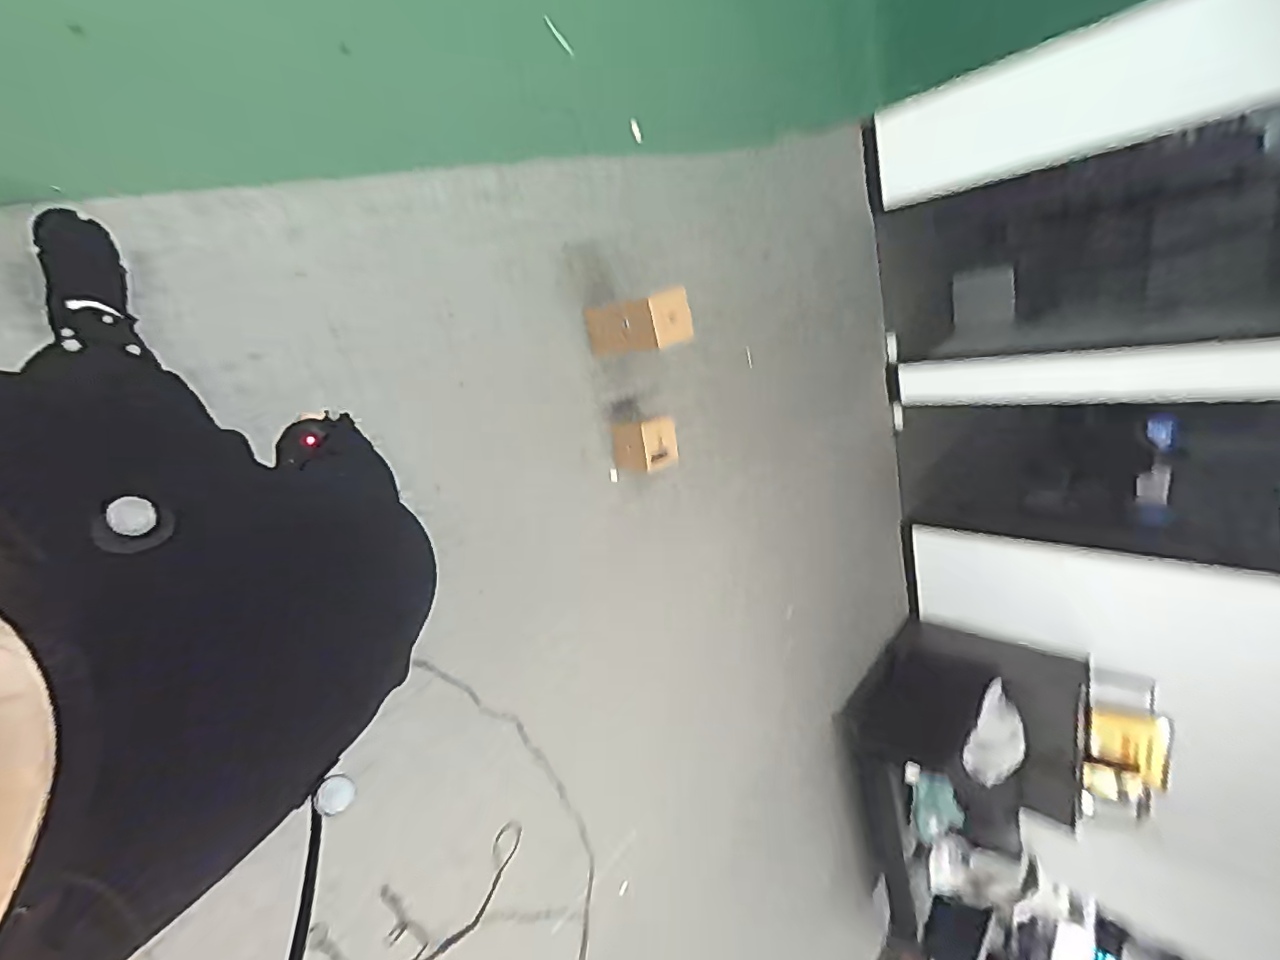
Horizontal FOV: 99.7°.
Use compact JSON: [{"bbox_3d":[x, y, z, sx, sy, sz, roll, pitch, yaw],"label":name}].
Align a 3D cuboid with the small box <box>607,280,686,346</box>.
[{"bbox_3d":[0.021,-0.538,1.751,0.179,0.176,0.168,-30,115,-36],"label":"small box"}]
